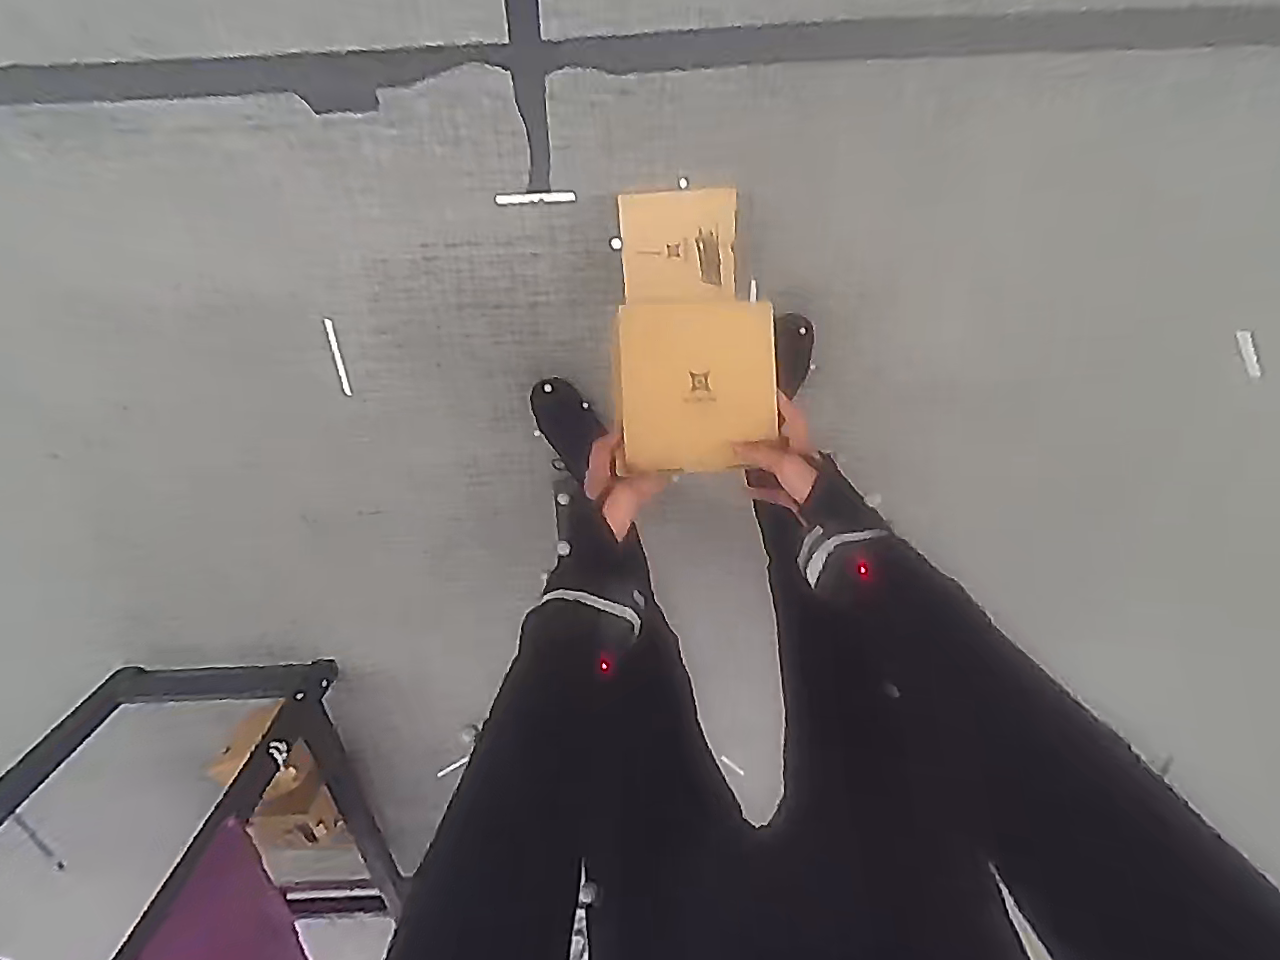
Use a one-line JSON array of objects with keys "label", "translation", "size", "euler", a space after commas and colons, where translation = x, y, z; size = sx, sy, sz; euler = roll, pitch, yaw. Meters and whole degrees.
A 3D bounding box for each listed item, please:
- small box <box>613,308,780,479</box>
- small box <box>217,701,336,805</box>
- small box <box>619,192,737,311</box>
[{"label": "small box", "translation": [0.056, -0.092, 0.644], "size": [0.168, 0.176, 0.179], "euler": [-3, 91, -5]}, {"label": "small box", "translation": [-0.984, 0.745, 1.483], "size": [0.179, 0.176, 0.168], "euler": [-28, 116, 14]}, {"label": "small box", "translation": [0.058, -0.376, 0.891], "size": [0.179, 0.176, 0.168], "euler": [-4, 118, 2]}]
